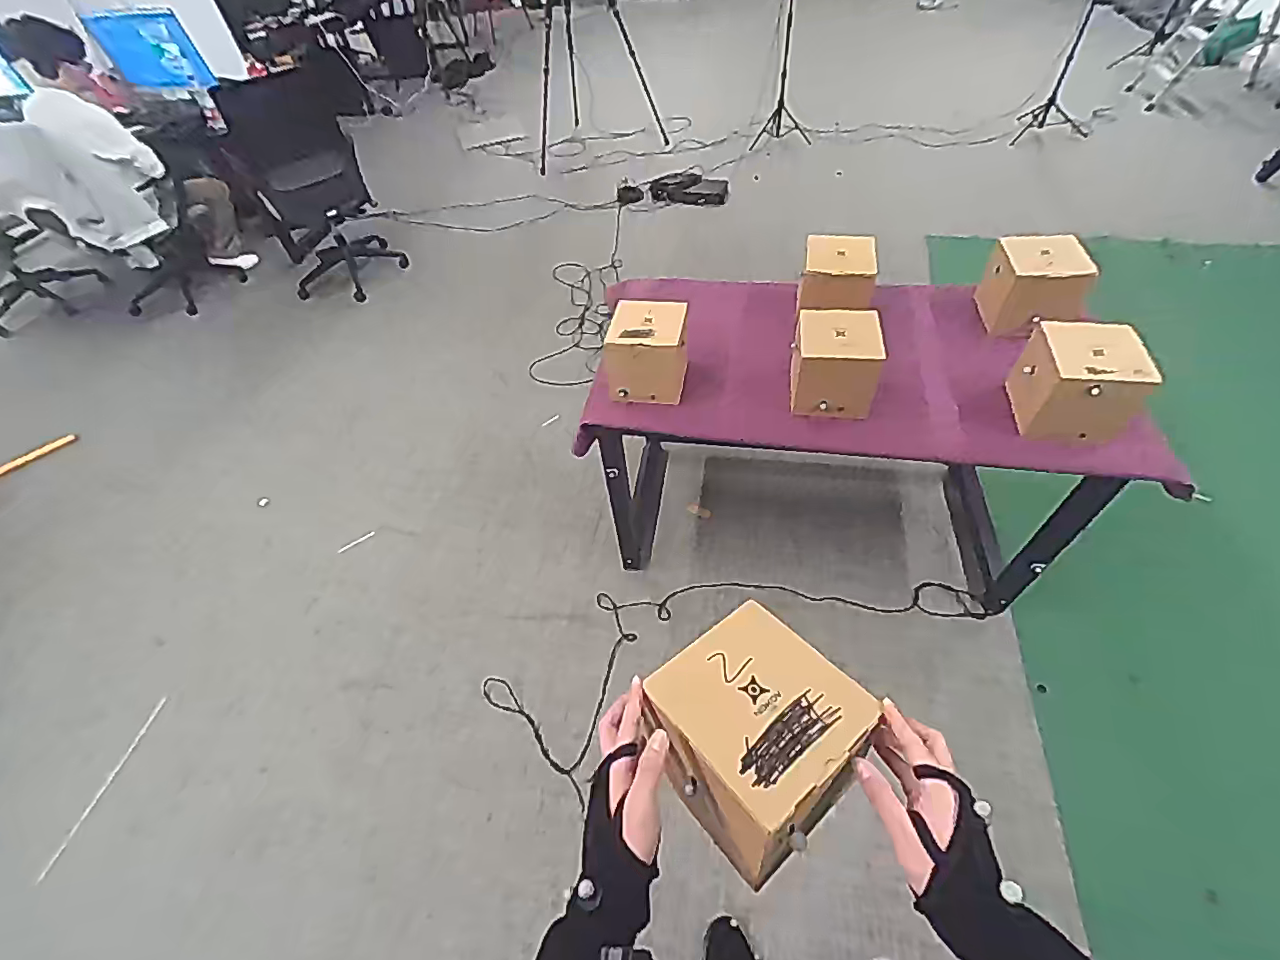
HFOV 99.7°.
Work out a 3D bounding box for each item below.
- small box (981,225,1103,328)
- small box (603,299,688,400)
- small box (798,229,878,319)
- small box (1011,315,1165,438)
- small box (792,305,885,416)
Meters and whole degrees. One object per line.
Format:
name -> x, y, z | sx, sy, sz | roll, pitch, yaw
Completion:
small box -> 0.949, -0.486, 1.299 | 0.168, 0.176, 0.179 | 2, 53, 13
small box -> 0.022, -0.306, 1.278 | 0.168, 0.176, 0.179 | 5, 51, 11
small box -> 0.503, -0.518, 1.389 | 0.168, 0.176, 0.179 | 7, 55, 12
small box -> 0.881, -0.208, 1.088 | 0.168, 0.176, 0.179 | 5, 53, 13
small box -> 0.429, -0.265, 1.197 | 0.168, 0.176, 0.179 | 4, 52, 12
